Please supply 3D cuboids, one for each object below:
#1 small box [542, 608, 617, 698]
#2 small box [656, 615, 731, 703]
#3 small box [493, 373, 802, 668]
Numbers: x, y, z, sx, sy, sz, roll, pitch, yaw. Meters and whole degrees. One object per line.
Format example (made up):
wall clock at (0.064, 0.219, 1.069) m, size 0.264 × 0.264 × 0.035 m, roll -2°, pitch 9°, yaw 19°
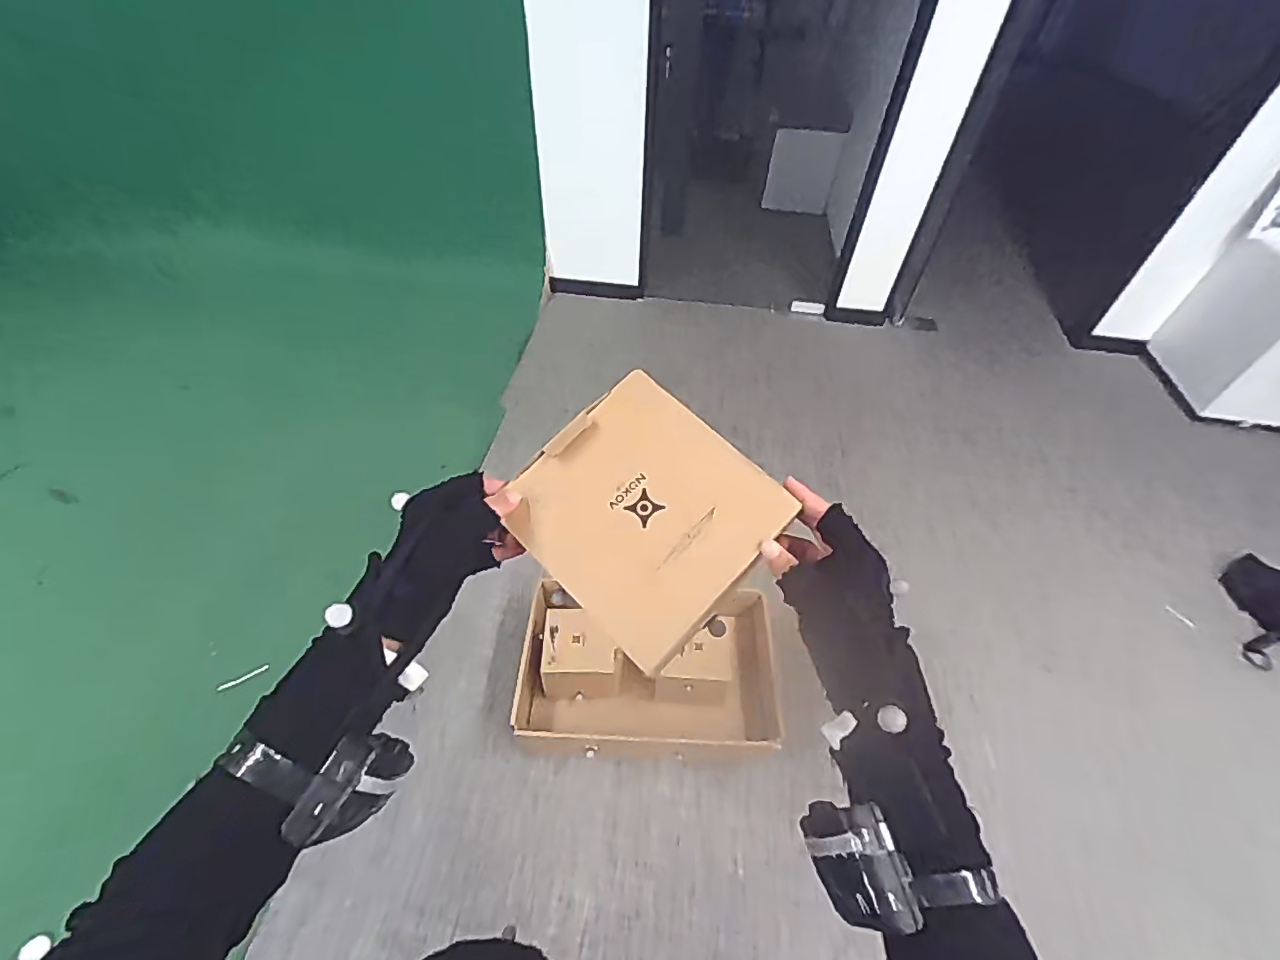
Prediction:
small box at (-0.149, 0.440, 1.372) m, size 0.179 × 0.176 × 0.168 m, roll 2°, pitch 47°, yaw -3°
small box at (0.132, 0.454, 1.375) m, size 0.179 × 0.176 × 0.168 m, roll 4°, pitch 48°, yaw 1°
small box at (0.007, 0.047, 0.478) m, size 0.179 × 0.176 × 0.168 m, roll 42°, pitch 78°, yaw 15°
